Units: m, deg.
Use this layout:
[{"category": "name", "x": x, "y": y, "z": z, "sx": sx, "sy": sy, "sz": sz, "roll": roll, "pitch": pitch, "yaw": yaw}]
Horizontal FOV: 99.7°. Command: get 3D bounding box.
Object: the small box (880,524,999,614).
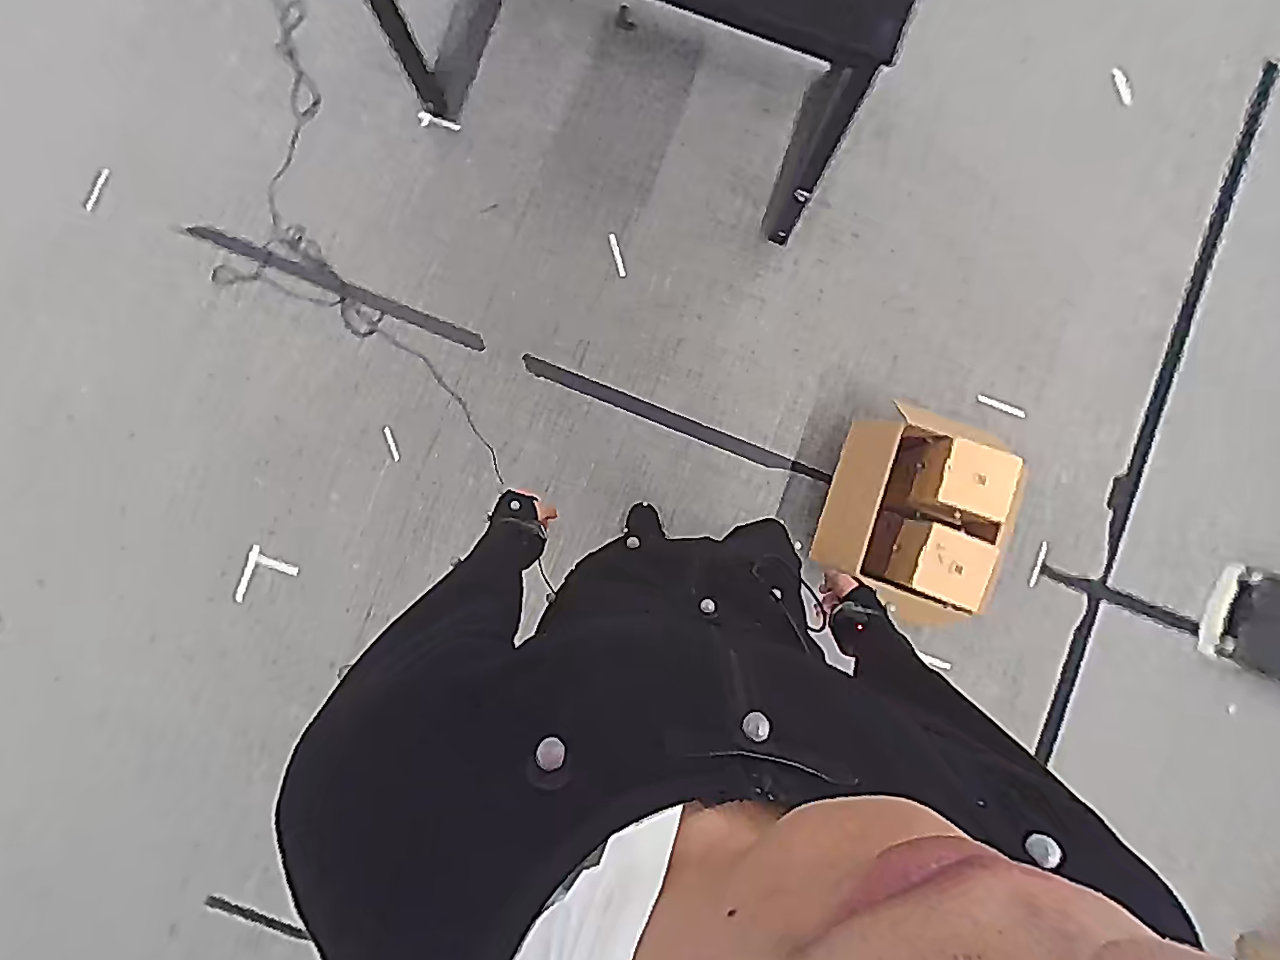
[{"category": "small box", "x": 0.747, "y": 0.214, "z": 1.364, "sx": 0.179, "sy": 0.176, "sz": 0.168, "roll": 23, "pitch": 88, "yaw": 0}]
